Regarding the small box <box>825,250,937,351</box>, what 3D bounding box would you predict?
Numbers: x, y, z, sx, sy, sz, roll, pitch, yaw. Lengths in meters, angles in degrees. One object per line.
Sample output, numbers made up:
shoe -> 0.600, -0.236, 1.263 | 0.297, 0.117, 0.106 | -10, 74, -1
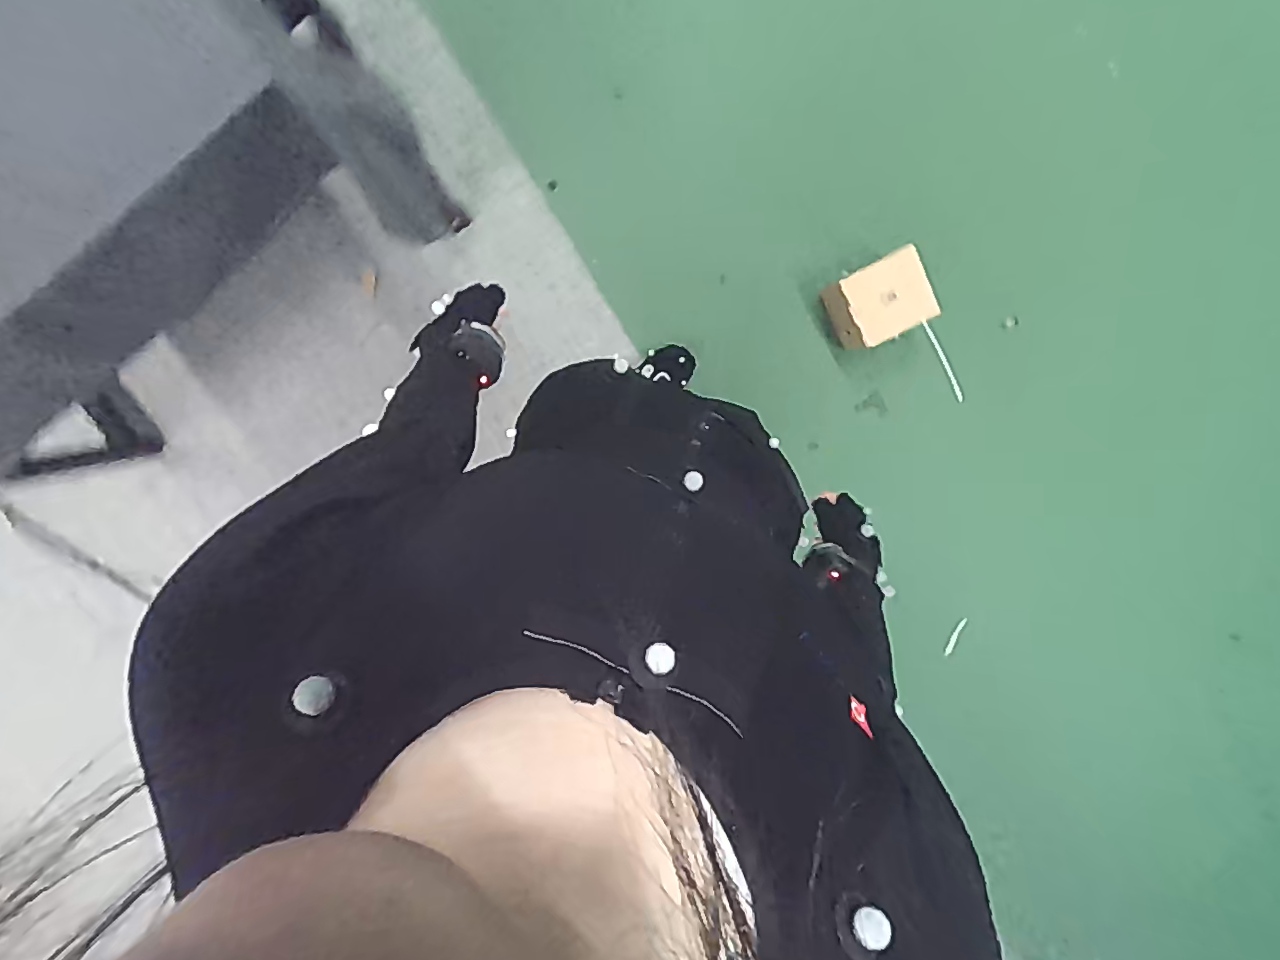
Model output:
small box -> 0.561, -0.417, 1.289 | 0.179, 0.176, 0.168 | -26, 100, 9
